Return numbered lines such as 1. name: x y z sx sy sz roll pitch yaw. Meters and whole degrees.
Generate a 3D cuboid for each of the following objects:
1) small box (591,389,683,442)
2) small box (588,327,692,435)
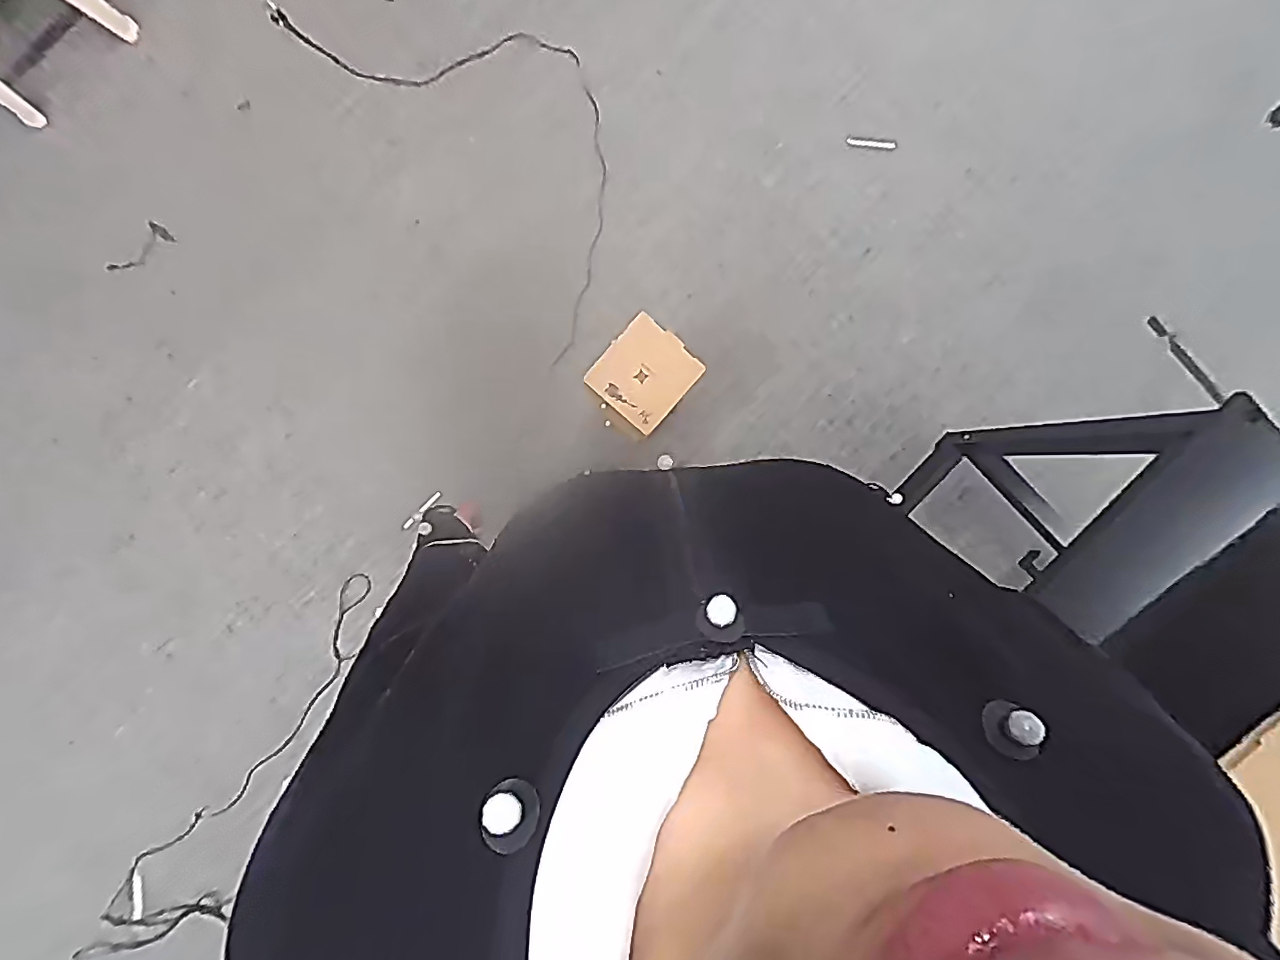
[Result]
1. small box: -0.012 -0.216 1.420 0.168 0.176 0.179 41 90 -3
2. small box: -0.003 -0.219 1.258 0.168 0.176 0.179 38 88 -4
